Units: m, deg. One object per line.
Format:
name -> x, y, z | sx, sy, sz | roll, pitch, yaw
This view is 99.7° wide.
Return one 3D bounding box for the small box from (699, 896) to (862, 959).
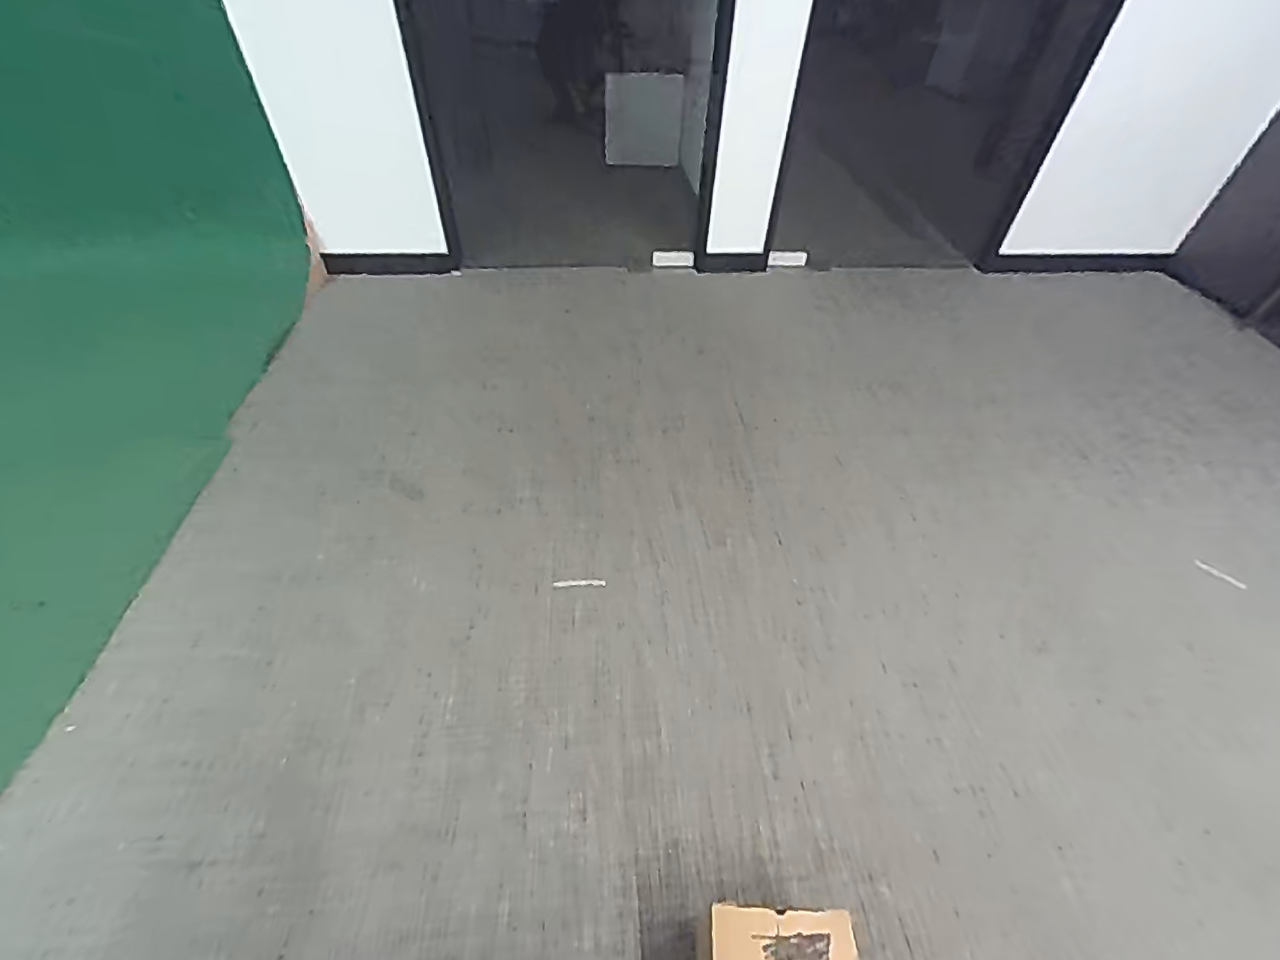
small box -> 0.163, 0.616, 0.640 | 0.168, 0.176, 0.179 | 3, 47, 0
